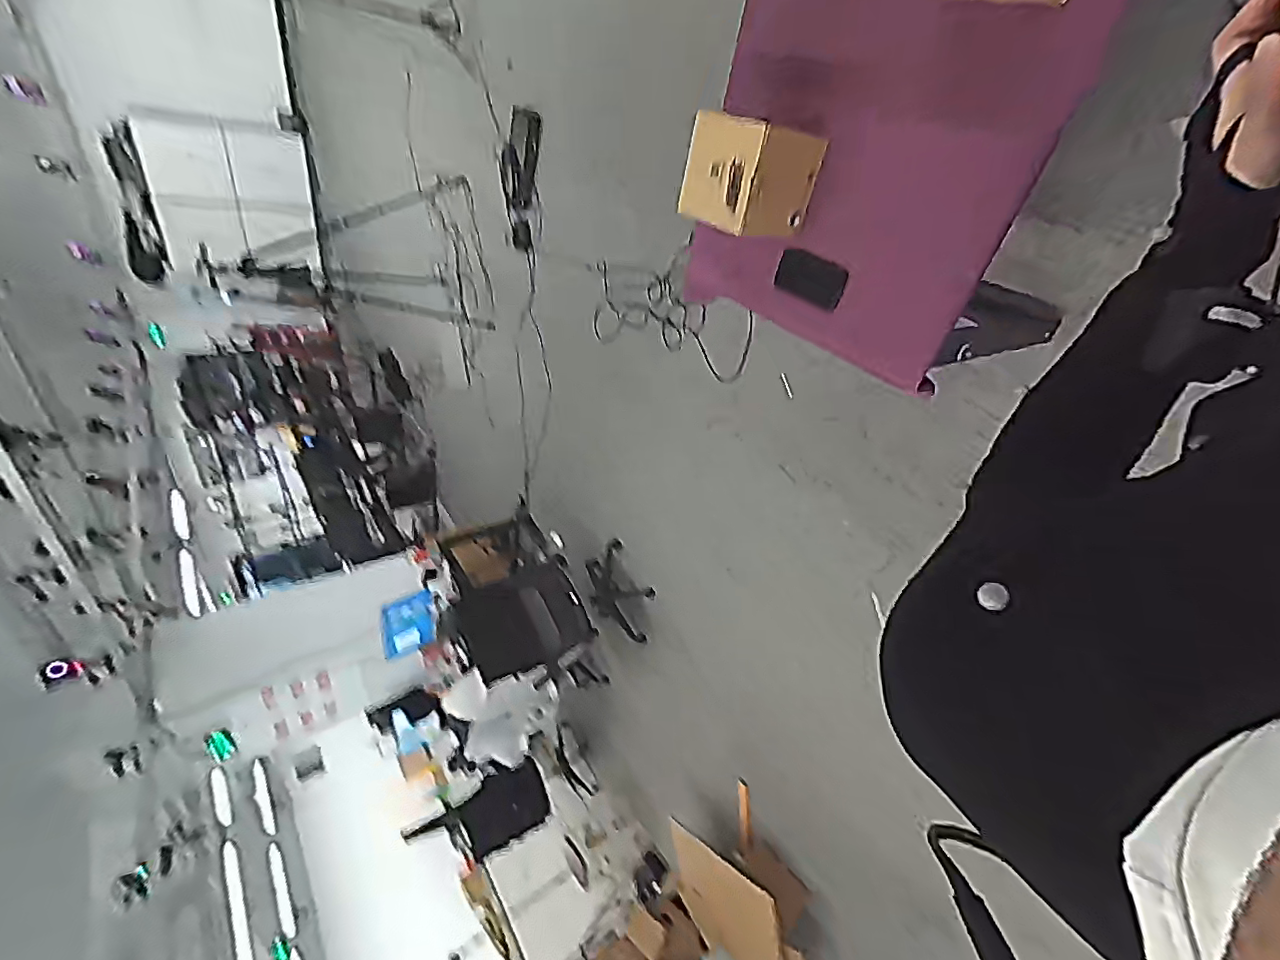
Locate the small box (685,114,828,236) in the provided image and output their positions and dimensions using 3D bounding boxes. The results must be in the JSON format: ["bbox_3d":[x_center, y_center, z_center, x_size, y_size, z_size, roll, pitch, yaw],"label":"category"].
[{"bbox_3d":[0.214,-0.563,1.005,0.179,0.176,0.168,43,135,38],"label":"small box"}]
